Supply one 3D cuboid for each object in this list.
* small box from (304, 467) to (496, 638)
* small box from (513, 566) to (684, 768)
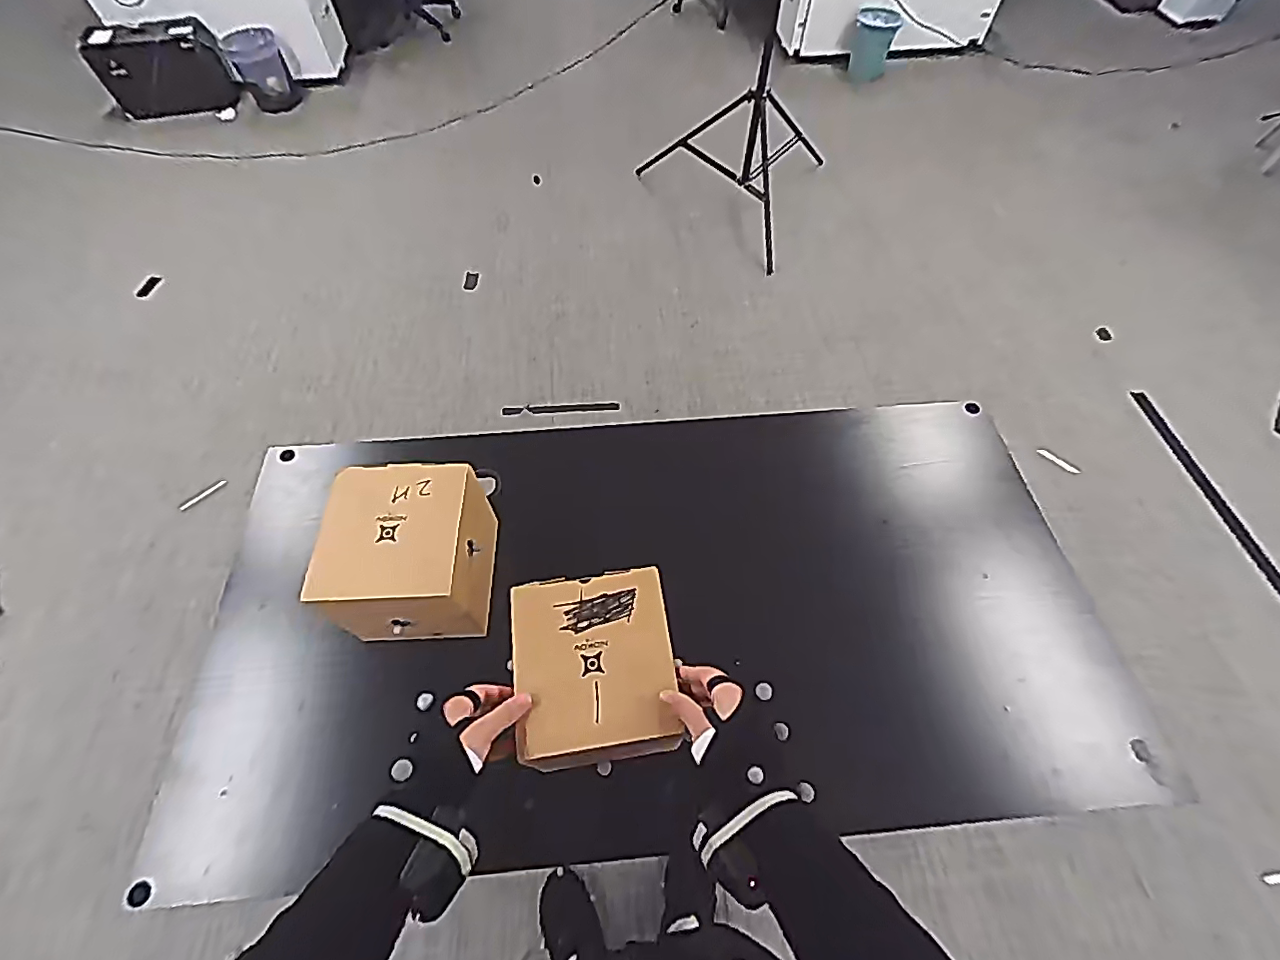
[{"bbox_3d":[-0.292,0.102,0.706,0.168,0.176,0.179,-2,58,-2],"label":"small box"},{"bbox_3d":[-0.049,0.222,0.630,0.168,0.176,0.179,-8,59,-4],"label":"small box"}]
